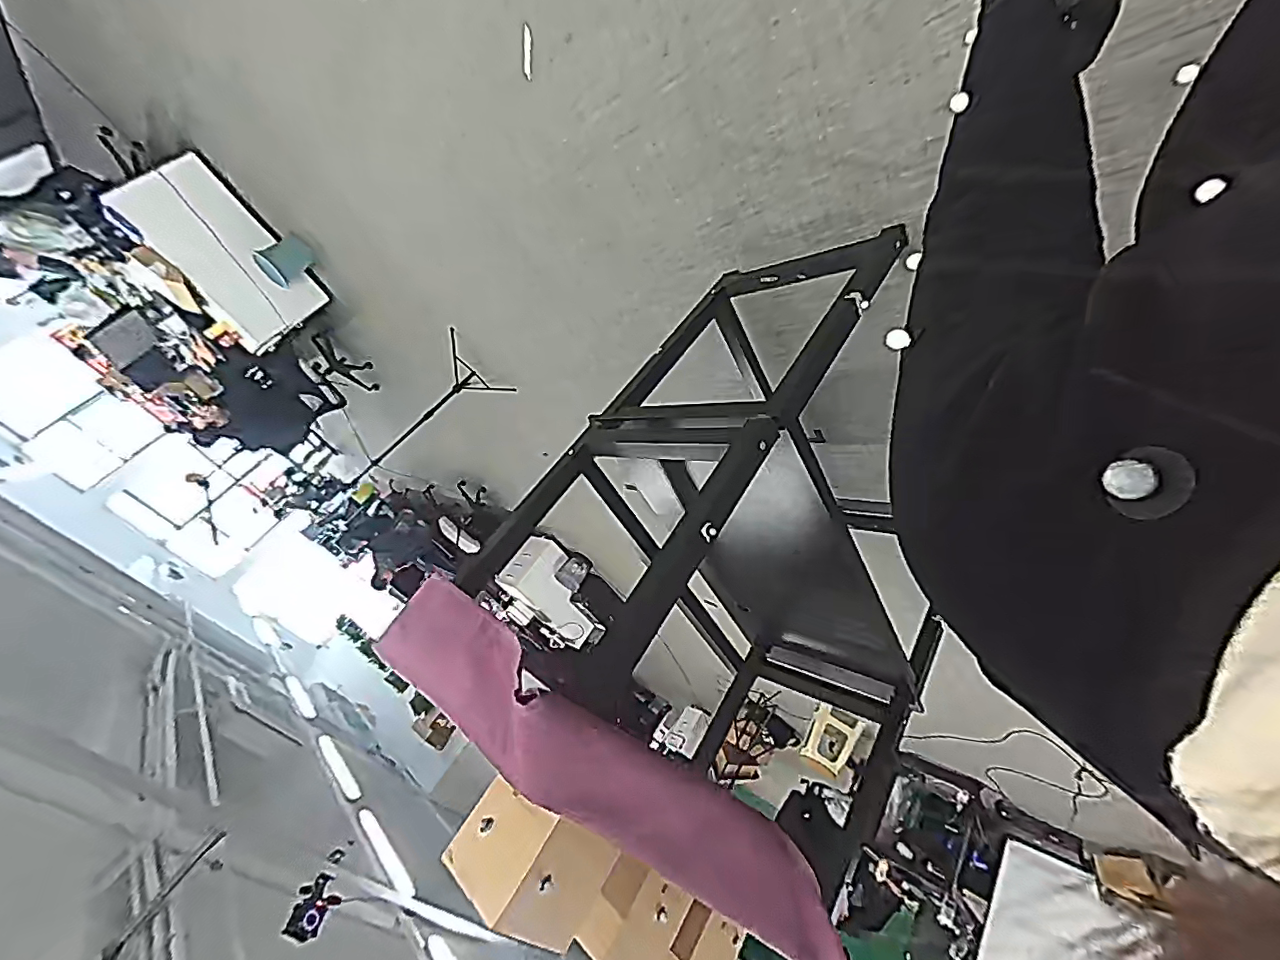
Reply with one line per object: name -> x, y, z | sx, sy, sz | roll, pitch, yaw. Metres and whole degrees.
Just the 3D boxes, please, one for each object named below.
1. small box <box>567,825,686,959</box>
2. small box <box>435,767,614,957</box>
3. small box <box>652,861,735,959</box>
small box -> -0.047, 0.786, 1.014 | 0.179, 0.176, 0.168 | 5, 140, 49
small box -> -0.177, 0.592, 0.856 | 0.168, 0.176, 0.179 | 9, 144, 46
small box -> 0.081, 0.966, 1.153 | 0.179, 0.176, 0.168 | 5, 140, 50
